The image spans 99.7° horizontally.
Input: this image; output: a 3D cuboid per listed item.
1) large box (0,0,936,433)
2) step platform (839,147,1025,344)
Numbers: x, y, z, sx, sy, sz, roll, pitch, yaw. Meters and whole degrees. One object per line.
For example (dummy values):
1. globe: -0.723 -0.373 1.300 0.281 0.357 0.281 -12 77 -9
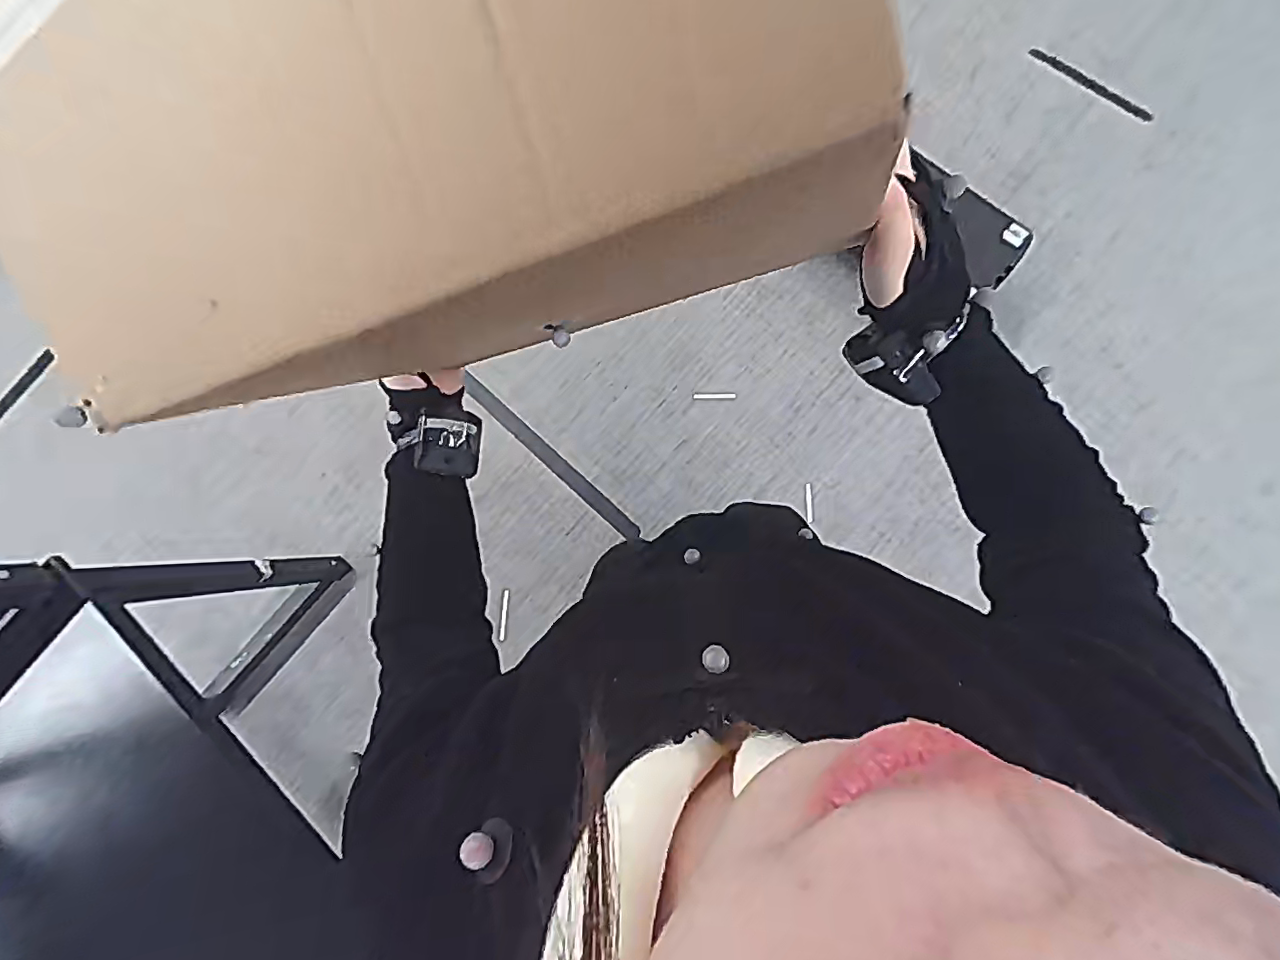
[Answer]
1. large box: -0.091 -0.248 0.314 0.408 0.320 0.320 -11 102 25
2. step platform: 0.651 -0.705 1.454 0.286 0.204 0.684 -43 80 -1
